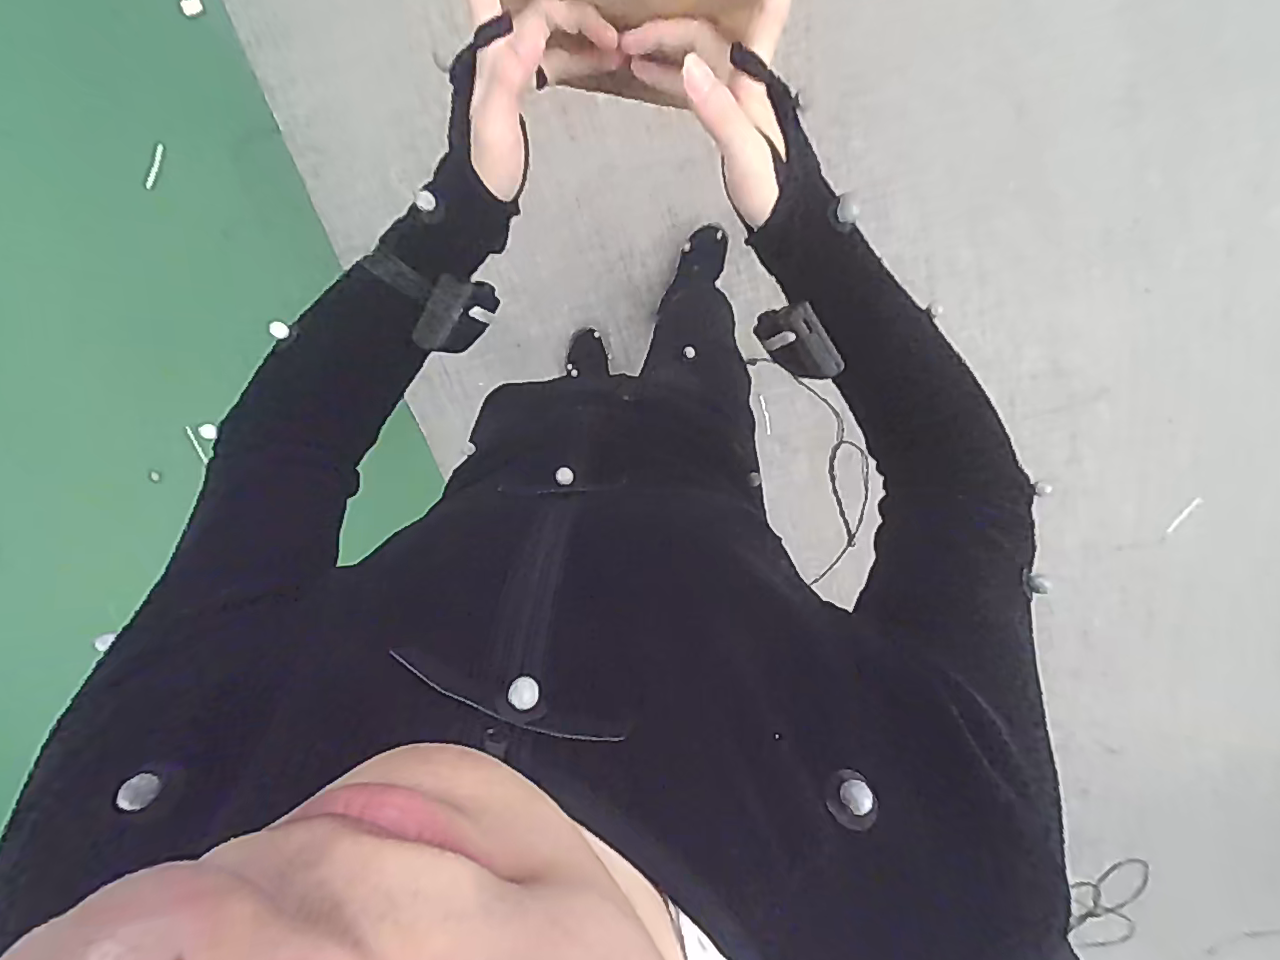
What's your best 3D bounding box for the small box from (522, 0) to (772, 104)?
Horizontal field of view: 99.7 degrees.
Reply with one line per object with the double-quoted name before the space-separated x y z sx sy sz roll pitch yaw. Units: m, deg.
"small box" 0.014 -0.390 0.356 0.179 0.176 0.168 11 94 -2
